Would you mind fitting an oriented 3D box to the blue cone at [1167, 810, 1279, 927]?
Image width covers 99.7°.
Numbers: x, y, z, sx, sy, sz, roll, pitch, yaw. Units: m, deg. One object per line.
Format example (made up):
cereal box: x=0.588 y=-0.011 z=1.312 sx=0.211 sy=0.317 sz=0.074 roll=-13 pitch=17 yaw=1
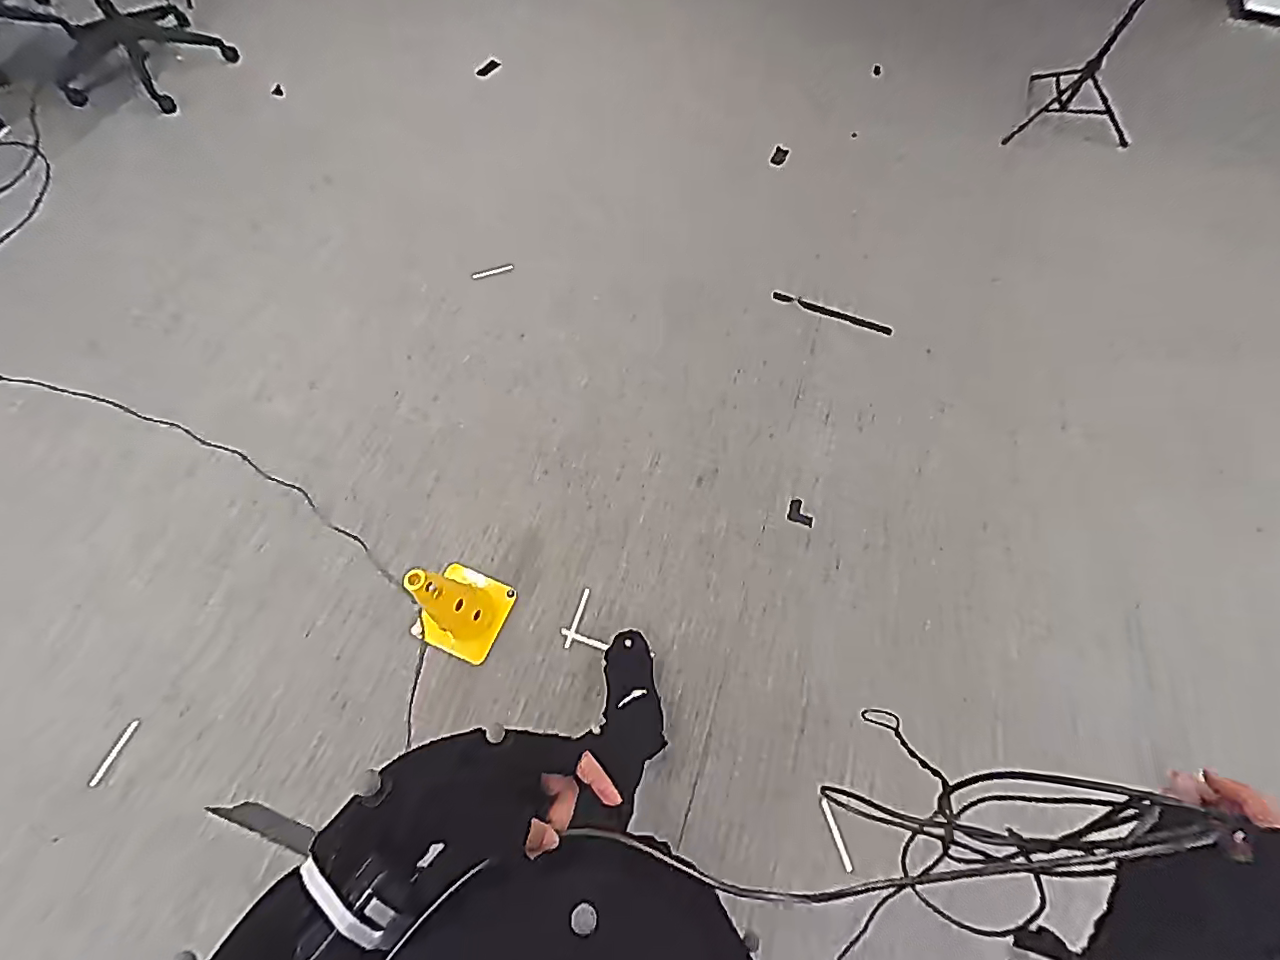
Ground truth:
blue cone: x=1.239 y=0.762 z=1.009 sx=0.193 sy=0.380 sz=0.192 roll=14 pitch=67 yaw=5
